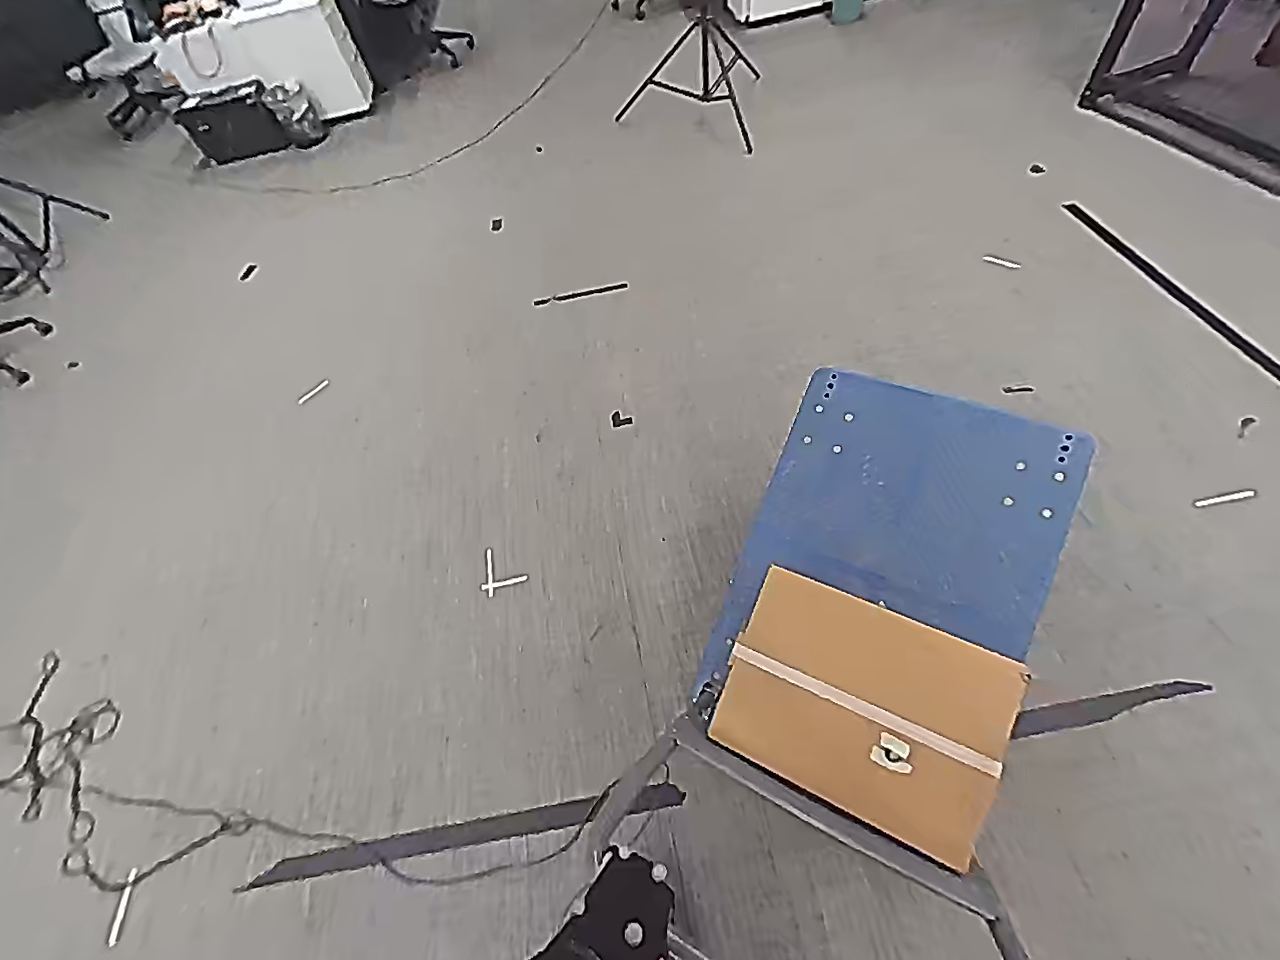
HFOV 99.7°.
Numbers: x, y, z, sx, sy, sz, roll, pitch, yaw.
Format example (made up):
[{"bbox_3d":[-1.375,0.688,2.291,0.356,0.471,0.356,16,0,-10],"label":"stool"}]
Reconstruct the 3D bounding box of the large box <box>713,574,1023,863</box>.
[{"bbox_3d":[0.392,0.394,1.009,0.408,0.320,0.320,20,85,20],"label":"large box"}]
